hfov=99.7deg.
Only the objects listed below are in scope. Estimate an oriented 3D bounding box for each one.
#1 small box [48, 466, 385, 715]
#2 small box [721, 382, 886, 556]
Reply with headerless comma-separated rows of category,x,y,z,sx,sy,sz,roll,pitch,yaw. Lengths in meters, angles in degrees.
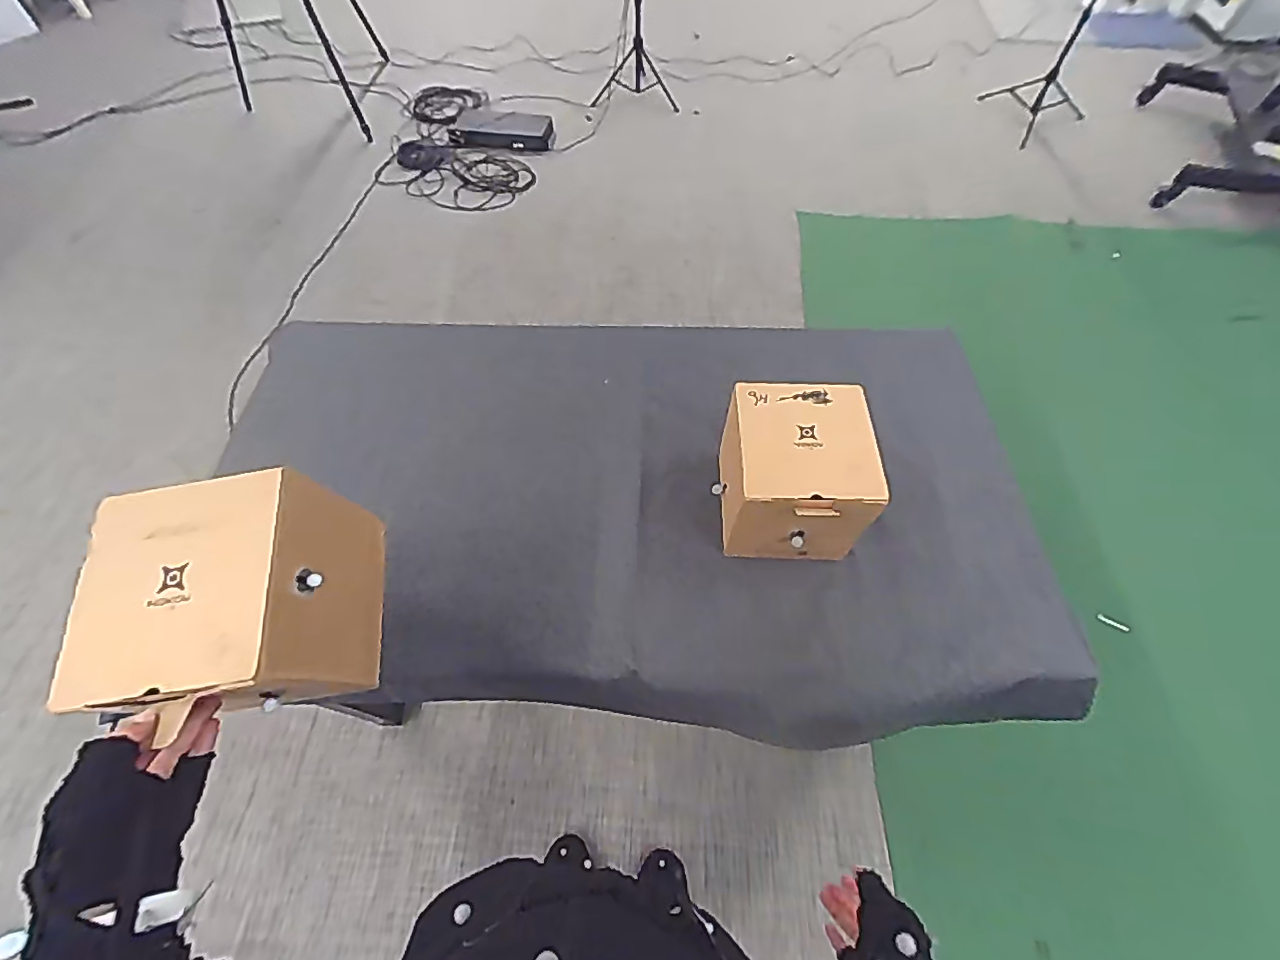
small box,-0.357,0.109,0.499,0.168,0.176,0.179,-10,66,2
small box,0.201,-0.008,0.721,0.168,0.176,0.179,2,60,0
